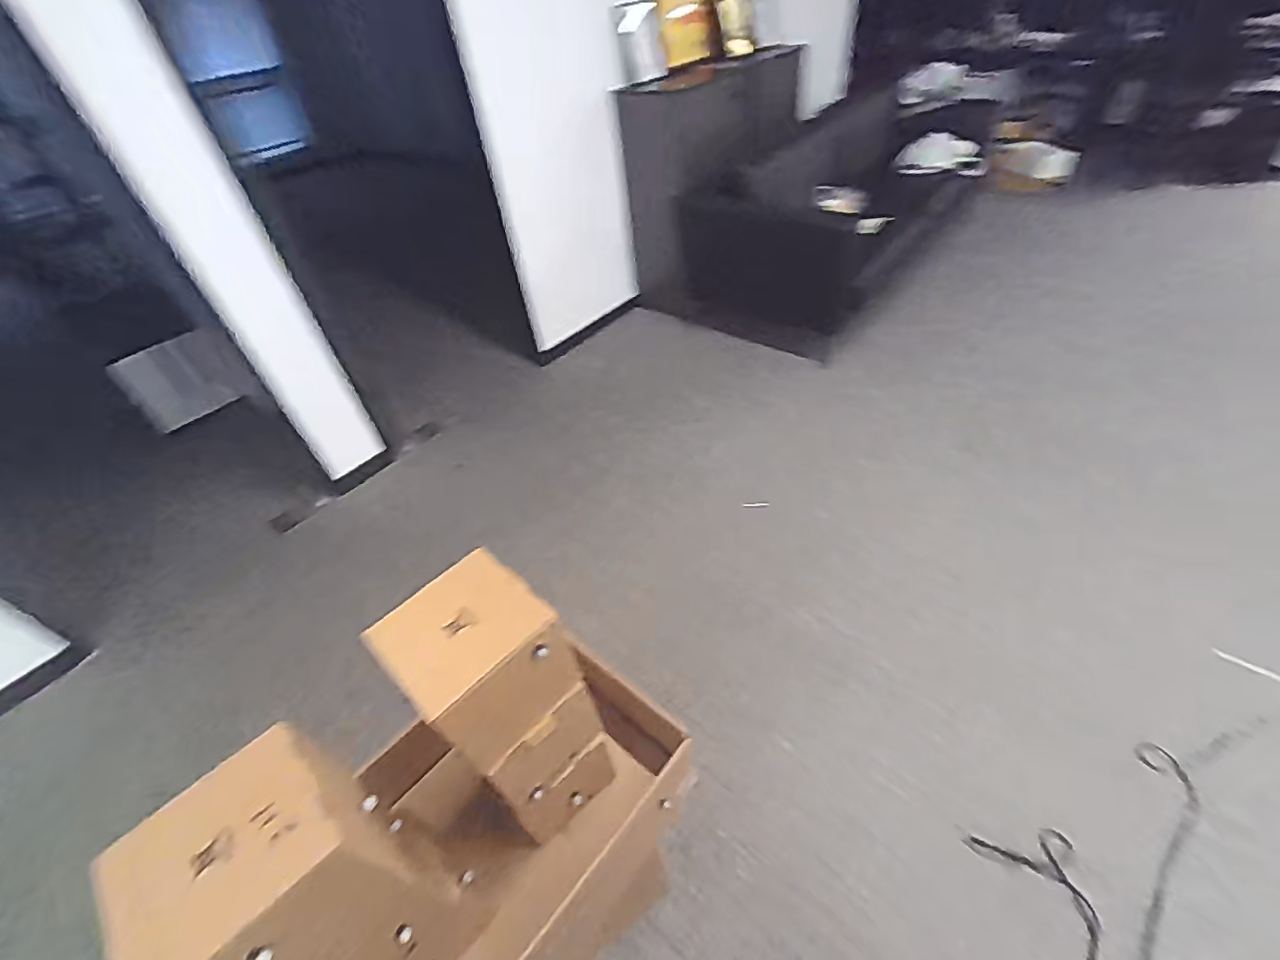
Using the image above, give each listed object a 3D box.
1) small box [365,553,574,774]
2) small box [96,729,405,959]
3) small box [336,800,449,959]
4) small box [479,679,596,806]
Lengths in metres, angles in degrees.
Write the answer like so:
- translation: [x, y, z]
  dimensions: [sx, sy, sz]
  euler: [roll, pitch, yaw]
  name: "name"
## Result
- translation: [-0.208, 0.237, 0.701]
  dimensions: [0.168, 0.176, 0.179]
  euler: [29, 54, 33]
  name: "small box"
- translation: [-0.377, 0.403, 0.546]
  dimensions: [0.168, 0.176, 0.179]
  euler: [32, 55, 34]
  name: "small box"
- translation: [-0.366, 0.520, 0.663]
  dimensions: [0.179, 0.176, 0.168]
  euler: [28, 53, 33]
  name: "small box"
- translation: [-0.188, 0.353, 0.813]
  dimensions: [0.179, 0.176, 0.168]
  euler: [30, 55, 34]
  name: "small box"
